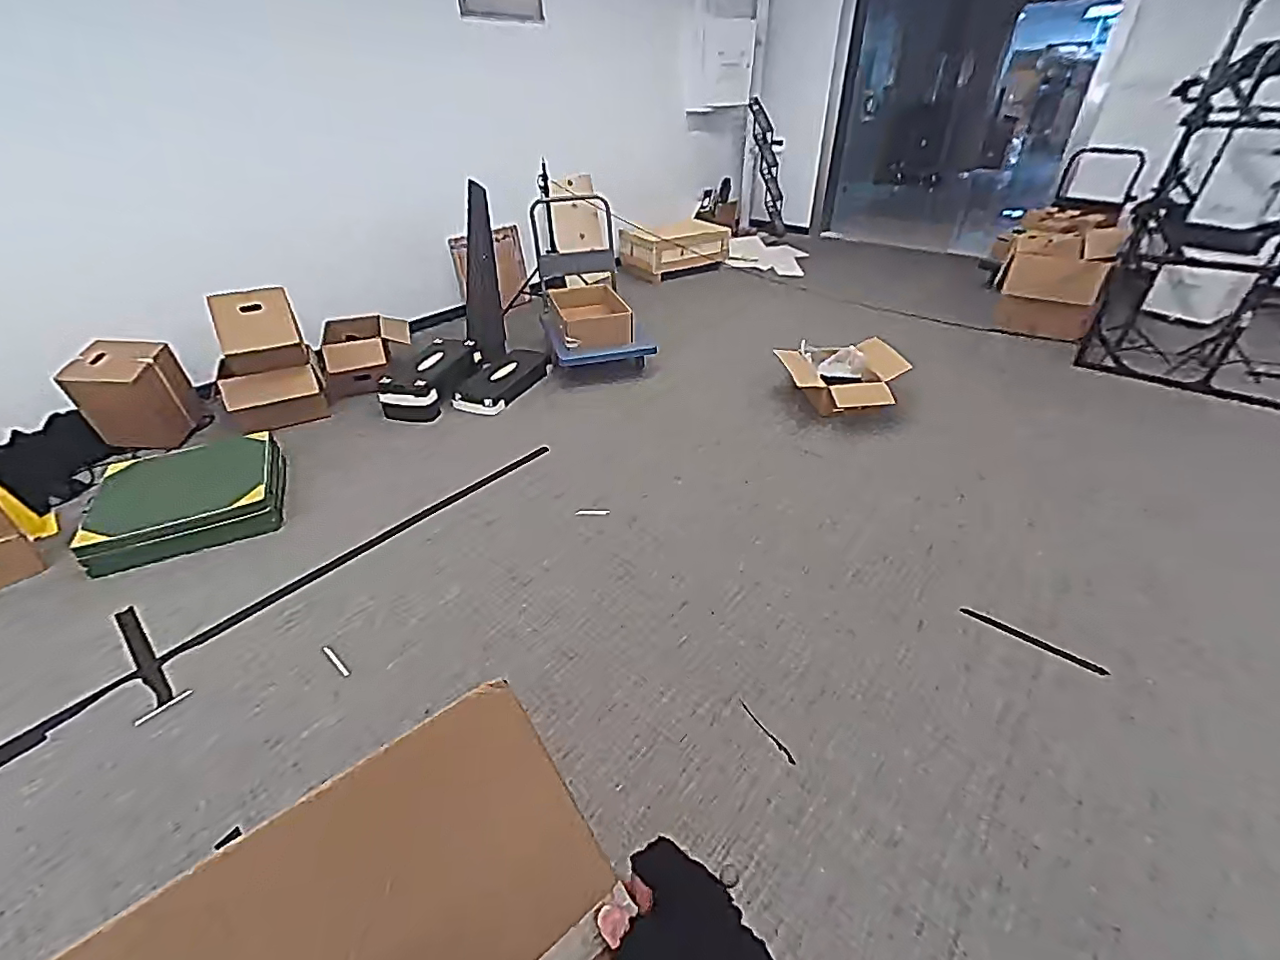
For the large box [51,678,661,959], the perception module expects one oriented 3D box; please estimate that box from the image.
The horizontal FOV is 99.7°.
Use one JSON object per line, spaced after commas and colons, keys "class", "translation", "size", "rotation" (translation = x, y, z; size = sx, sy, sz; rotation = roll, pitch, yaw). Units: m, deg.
{"class": "large box", "translation": [-0.215, 0.402, 0.371], "size": [0.408, 0.320, 0.320], "rotation": [-27, 78, -30]}
